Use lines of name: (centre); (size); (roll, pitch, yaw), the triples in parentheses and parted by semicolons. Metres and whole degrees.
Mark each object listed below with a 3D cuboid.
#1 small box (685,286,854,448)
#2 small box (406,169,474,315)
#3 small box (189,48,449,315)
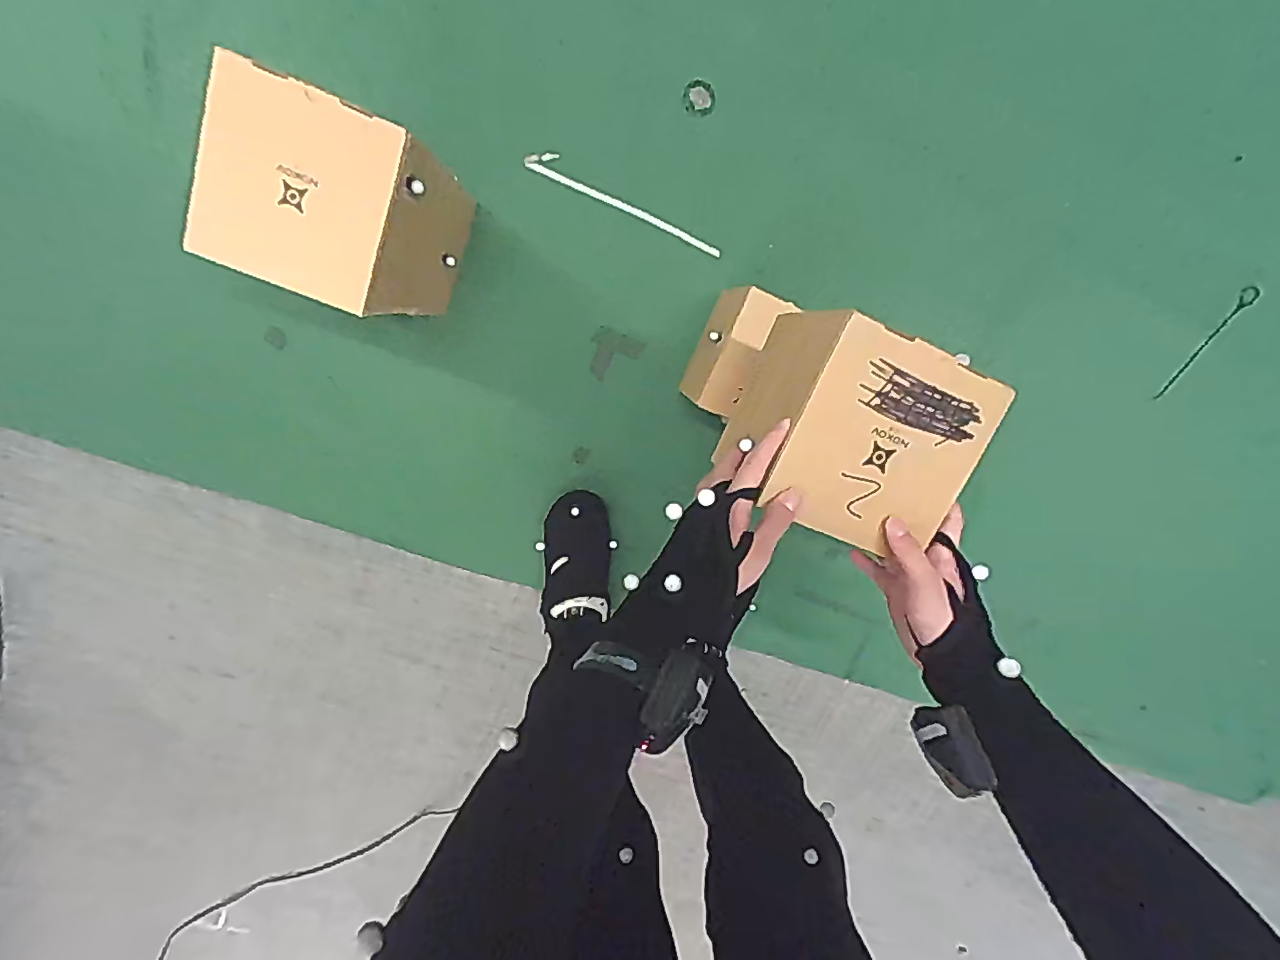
small box: (0.181, -0.175, 0.820); (0.168, 0.176, 0.179); (22, 105, -12)
small box: (-0.335, -0.336, 0.724); (0.168, 0.176, 0.179); (20, 105, -10)
small box: (-0.319, -0.287, 0.570); (0.168, 0.176, 0.179); (19, 104, -10)
